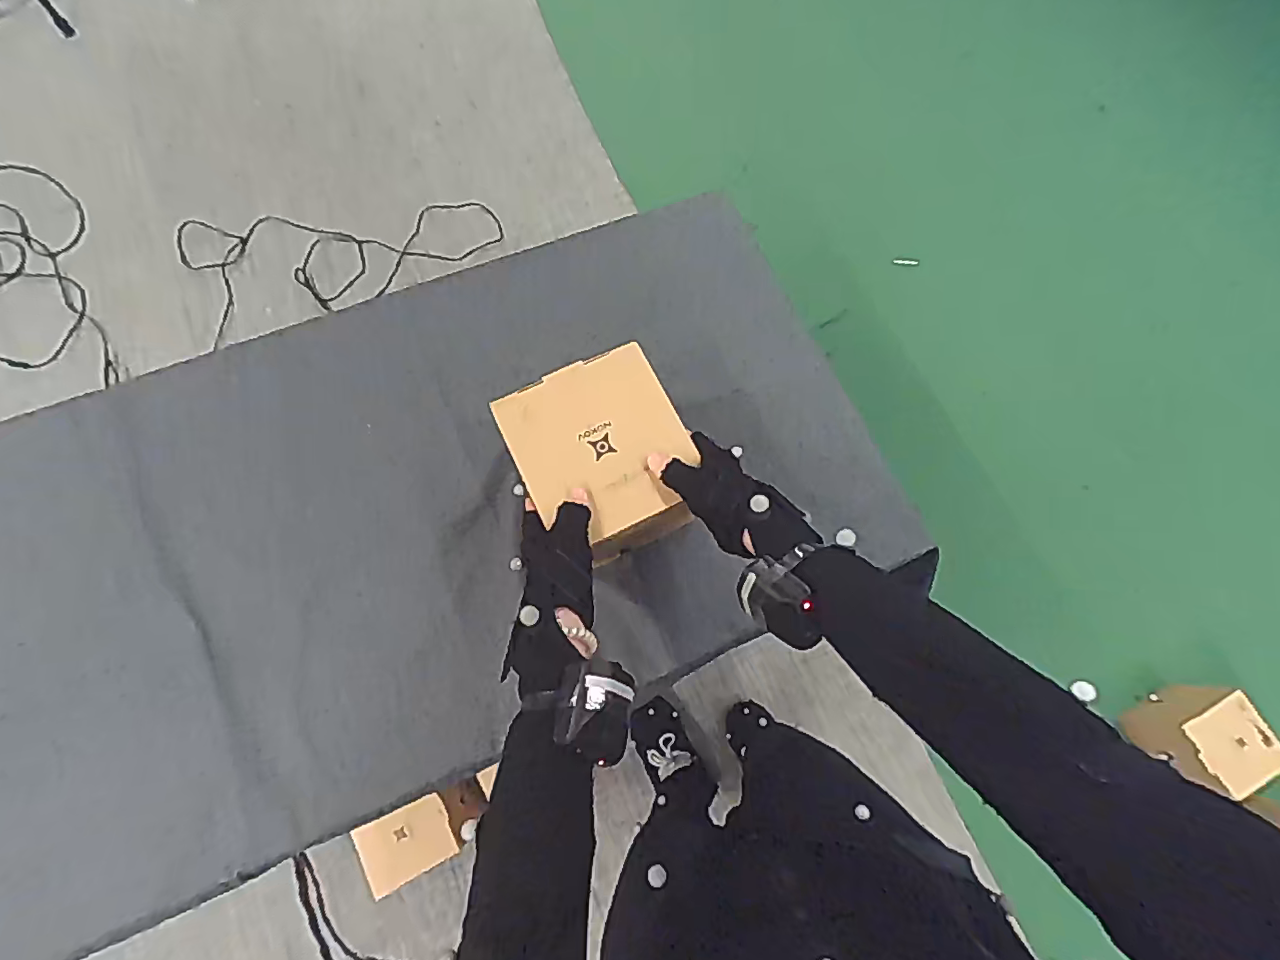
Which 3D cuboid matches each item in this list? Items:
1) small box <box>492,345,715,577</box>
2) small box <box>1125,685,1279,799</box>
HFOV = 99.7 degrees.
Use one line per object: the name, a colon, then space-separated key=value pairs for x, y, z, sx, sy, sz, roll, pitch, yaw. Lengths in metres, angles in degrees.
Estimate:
small box: x=-0.041 y=-0.010 z=0.594 sx=0.168 sy=0.176 sz=0.179 roll=-25 pitch=77 yaw=-8
small box: x=1.270 y=0.585 z=1.232 sx=0.179 sy=0.176 sz=0.168 roll=-24 pitch=76 yaw=-8
